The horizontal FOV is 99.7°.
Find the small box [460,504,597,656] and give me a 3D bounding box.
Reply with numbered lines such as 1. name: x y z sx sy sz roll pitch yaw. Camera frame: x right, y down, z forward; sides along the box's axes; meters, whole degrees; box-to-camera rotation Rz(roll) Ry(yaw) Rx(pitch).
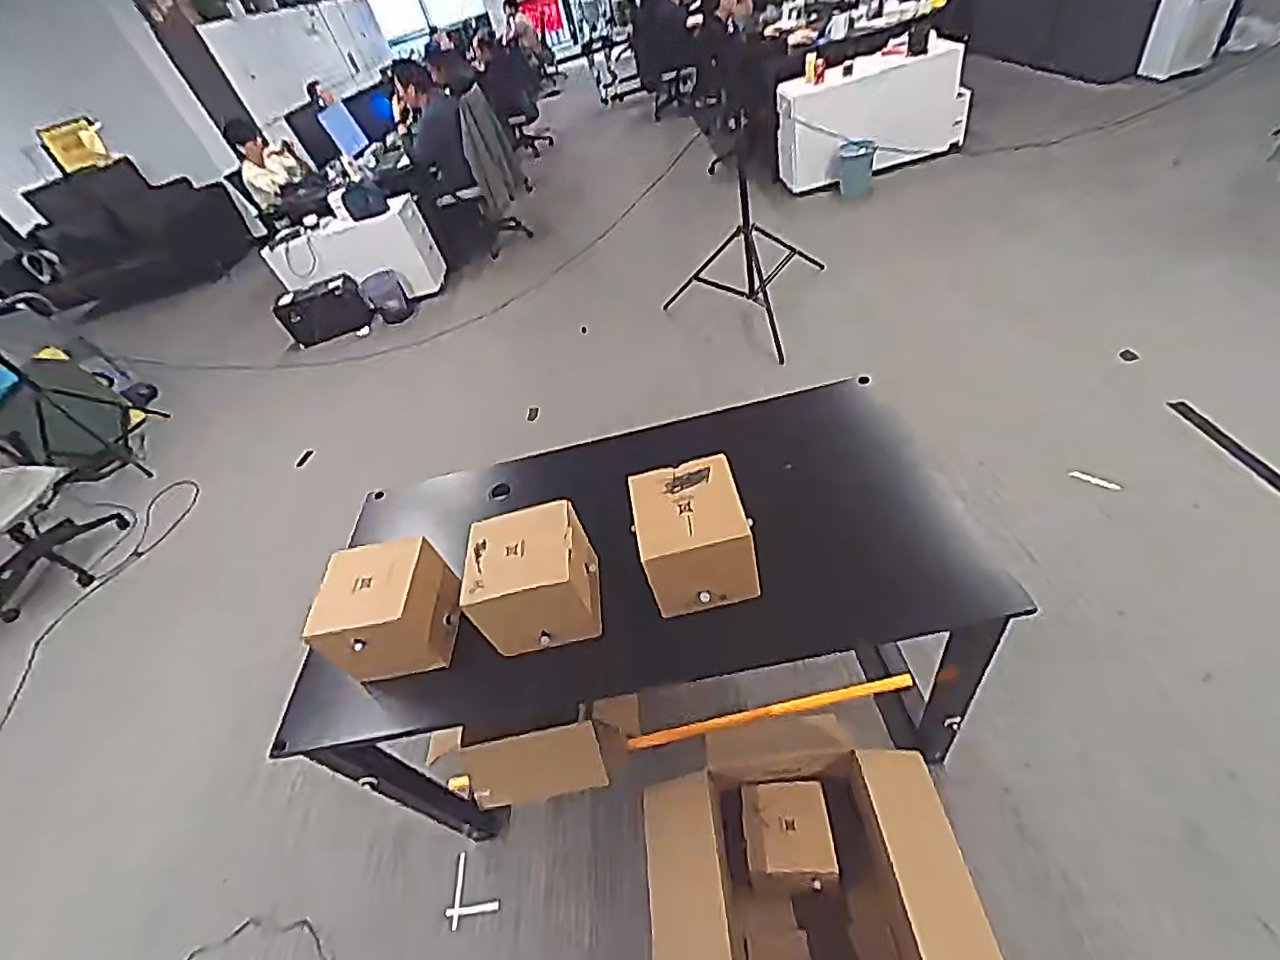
1. small box: -0.173 0.169 0.899 0.179 0.176 0.168 -13 44 4

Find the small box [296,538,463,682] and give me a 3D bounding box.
1. small box: -0.429 0.227 0.925 0.179 0.176 0.168 -11 45 6

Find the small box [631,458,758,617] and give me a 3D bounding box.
1. small box: 0.089 0.096 0.885 0.168 0.176 0.179 -14 44 4
